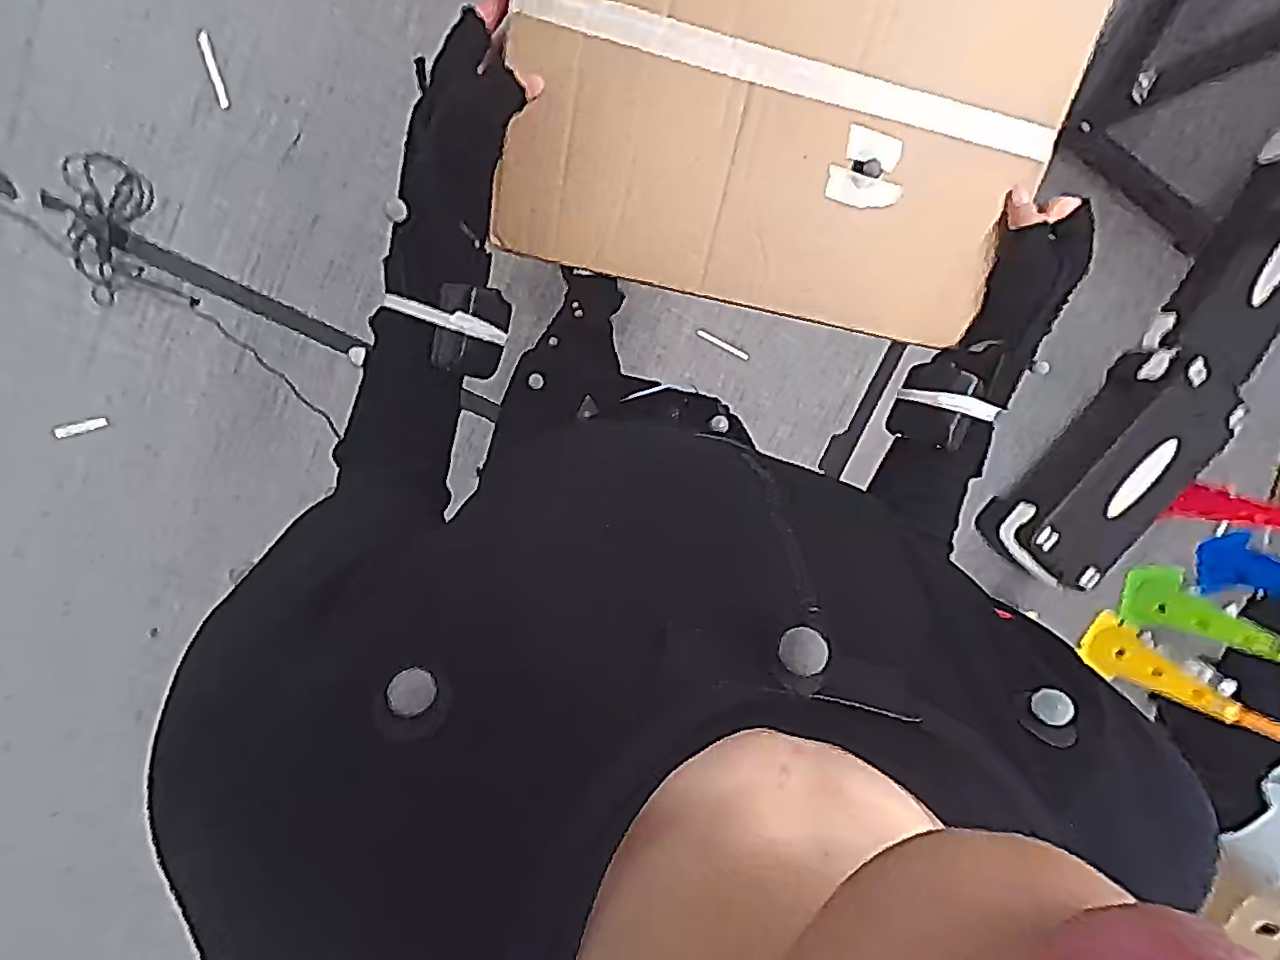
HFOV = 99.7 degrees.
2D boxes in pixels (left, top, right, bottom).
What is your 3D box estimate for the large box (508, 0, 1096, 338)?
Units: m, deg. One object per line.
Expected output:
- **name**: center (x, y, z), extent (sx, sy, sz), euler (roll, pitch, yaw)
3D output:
- **large box**: center (0.104, -0.350, 0.534), extent (0.408, 0.320, 0.320), euler (10, 112, -9)
